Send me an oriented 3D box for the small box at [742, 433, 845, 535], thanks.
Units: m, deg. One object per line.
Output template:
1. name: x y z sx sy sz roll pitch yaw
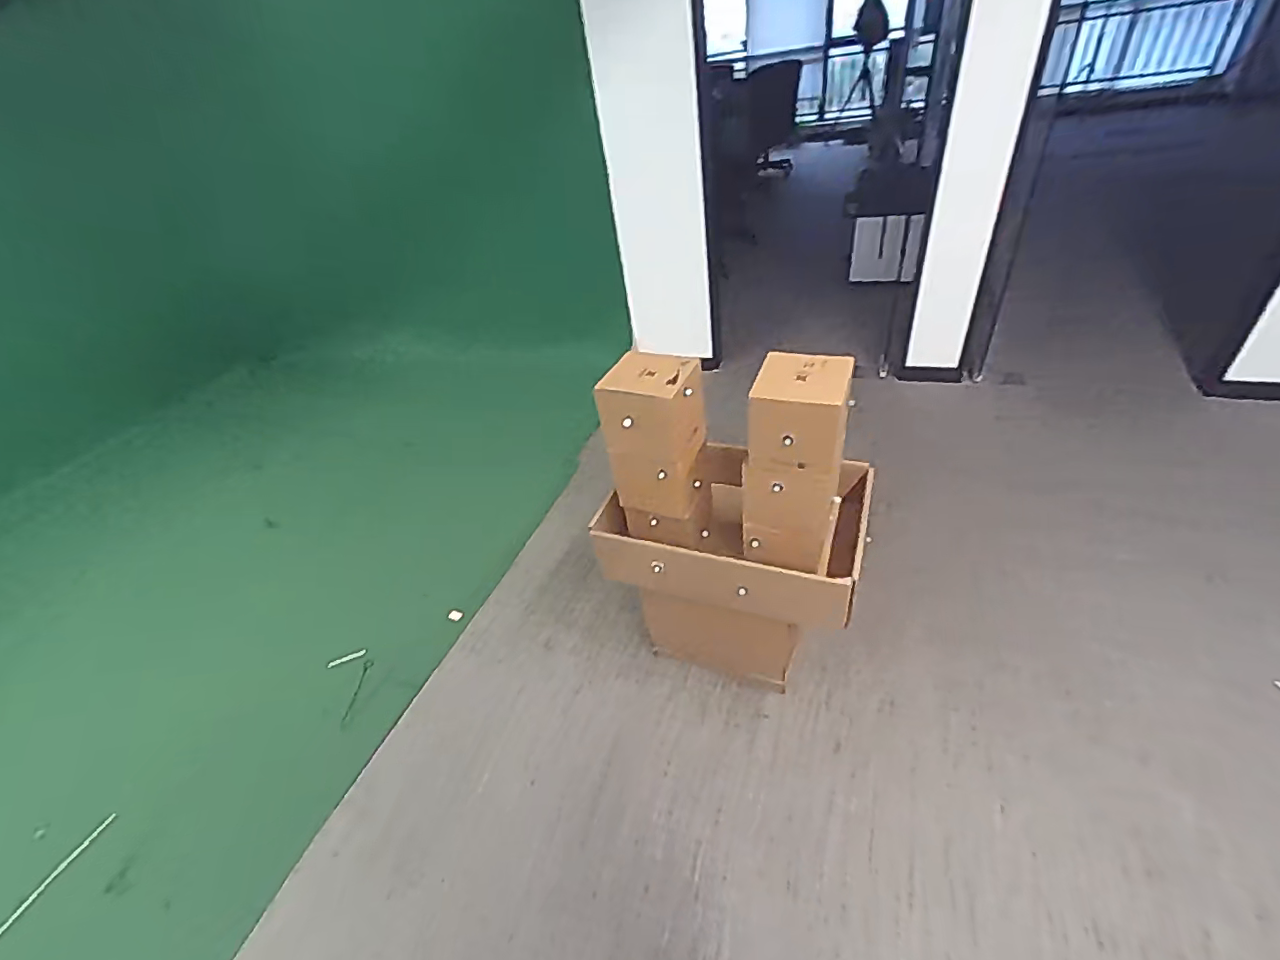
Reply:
1. small box: 0.329 -0.003 1.167 0.179 0.176 0.168 12 44 24

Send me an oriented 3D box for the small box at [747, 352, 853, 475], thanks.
1. small box: 0.314 -0.132 1.064 0.168 0.176 0.179 10 43 22

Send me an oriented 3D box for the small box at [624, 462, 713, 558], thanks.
1. small box: 0.079 0.079 1.388 0.179 0.176 0.168 11 44 23

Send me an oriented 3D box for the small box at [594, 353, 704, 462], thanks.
1. small box: 0.027 -0.157 1.167 0.179 0.176 0.168 11 44 24
